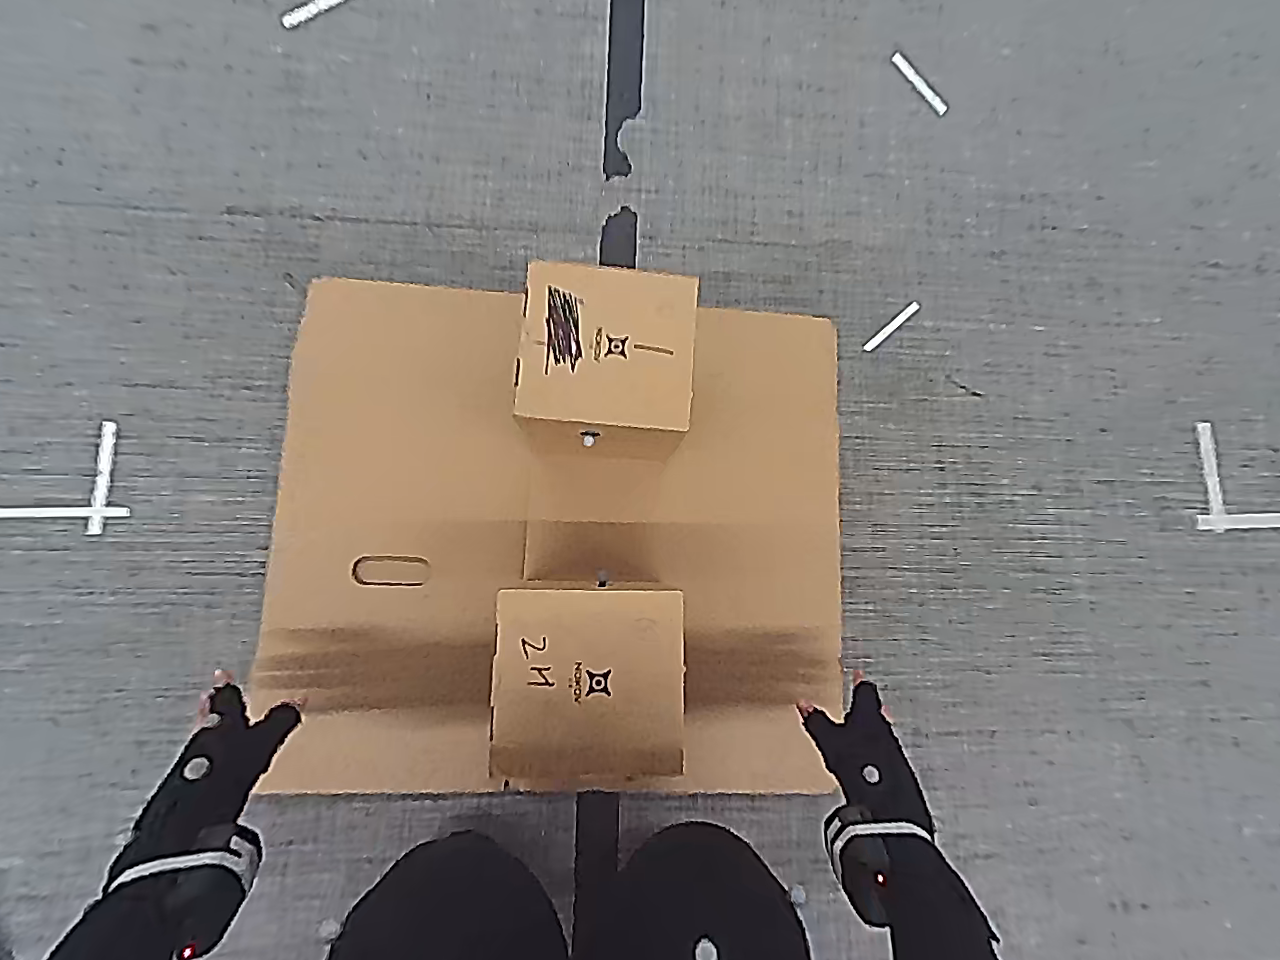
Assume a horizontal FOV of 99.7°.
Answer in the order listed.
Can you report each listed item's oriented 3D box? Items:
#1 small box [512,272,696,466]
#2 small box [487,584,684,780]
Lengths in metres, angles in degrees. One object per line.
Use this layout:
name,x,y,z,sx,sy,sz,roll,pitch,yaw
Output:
small box,-0.039,-0.115,0.625,0.179,0.176,0.168,5,81,-4
small box,-0.054,0.200,0.577,0.179,0.176,0.168,2,81,-3
